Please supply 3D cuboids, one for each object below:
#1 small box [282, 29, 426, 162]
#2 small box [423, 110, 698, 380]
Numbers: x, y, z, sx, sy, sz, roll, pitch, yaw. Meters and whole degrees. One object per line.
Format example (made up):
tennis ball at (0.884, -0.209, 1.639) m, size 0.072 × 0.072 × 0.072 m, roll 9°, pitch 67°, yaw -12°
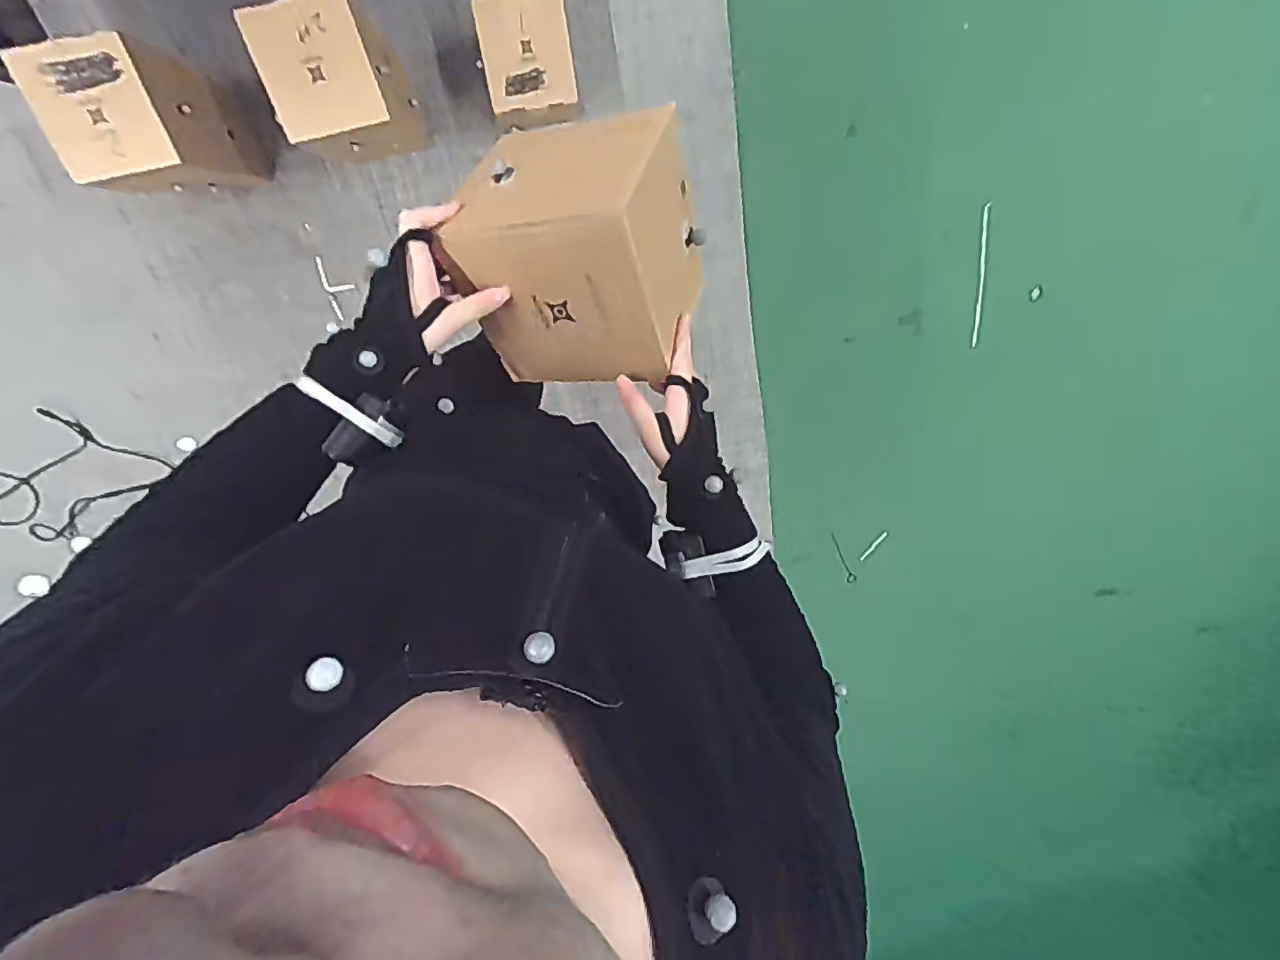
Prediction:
small box at (-0.547, -0.742, 1.063) m, size 0.179 × 0.176 × 0.168 m, roll -14°, pitch 115°, yaw -4°
small box at (-0.057, -0.214, 0.511) m, size 0.179 × 0.176 × 0.168 m, roll 4°, pitch 146°, yaw 21°
